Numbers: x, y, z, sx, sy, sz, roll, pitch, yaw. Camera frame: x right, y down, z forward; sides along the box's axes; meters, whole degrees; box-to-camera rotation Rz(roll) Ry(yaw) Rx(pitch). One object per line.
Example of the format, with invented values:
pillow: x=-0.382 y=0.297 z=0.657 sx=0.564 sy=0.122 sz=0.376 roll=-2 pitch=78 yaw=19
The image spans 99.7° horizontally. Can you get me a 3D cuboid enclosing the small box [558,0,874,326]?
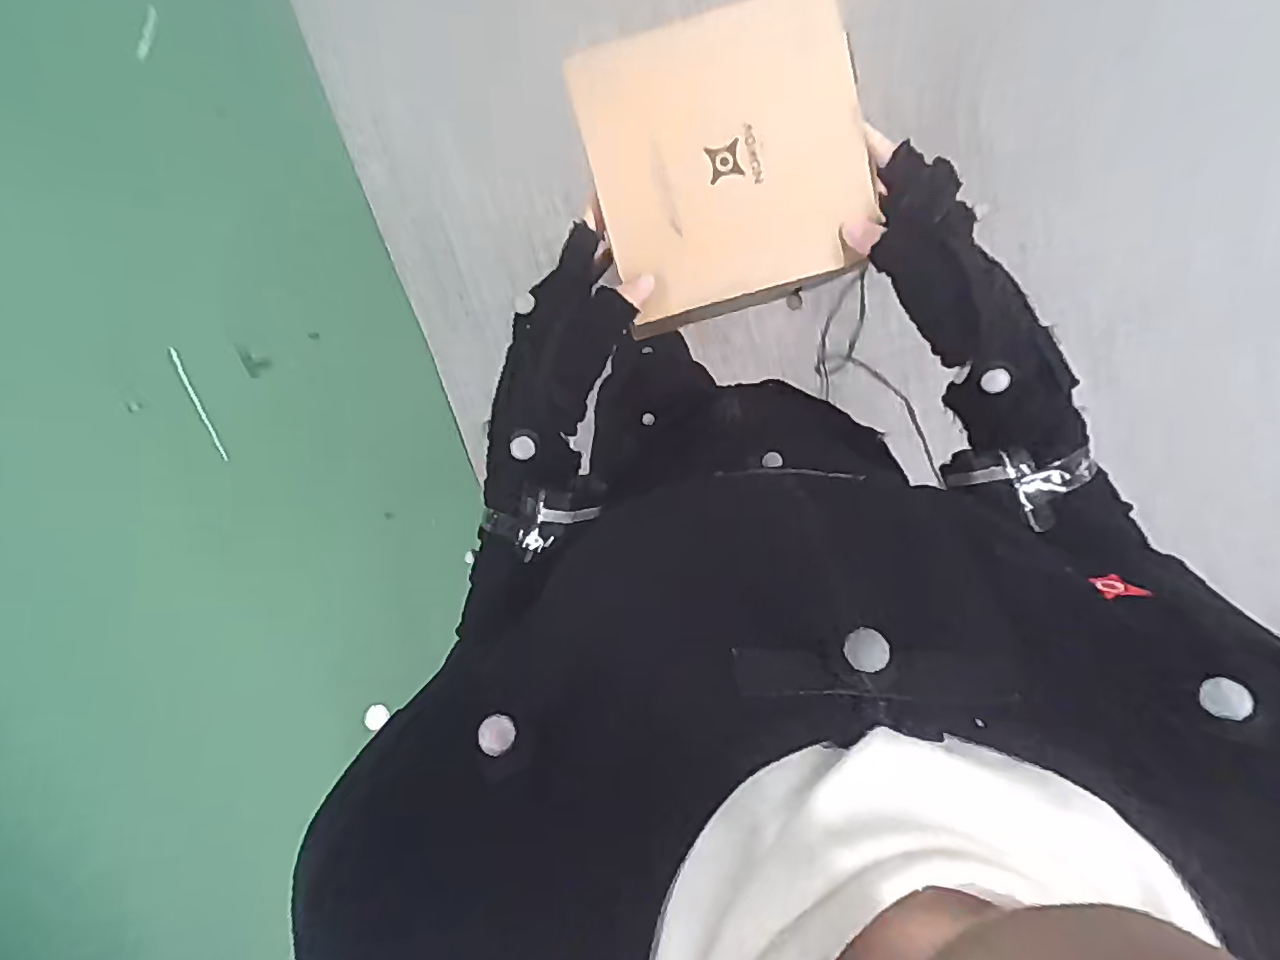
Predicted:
small box: x=0.052 y=-0.227 z=0.424 sx=0.179 sy=0.176 sz=0.168 roll=-15 pitch=101 yaw=5
